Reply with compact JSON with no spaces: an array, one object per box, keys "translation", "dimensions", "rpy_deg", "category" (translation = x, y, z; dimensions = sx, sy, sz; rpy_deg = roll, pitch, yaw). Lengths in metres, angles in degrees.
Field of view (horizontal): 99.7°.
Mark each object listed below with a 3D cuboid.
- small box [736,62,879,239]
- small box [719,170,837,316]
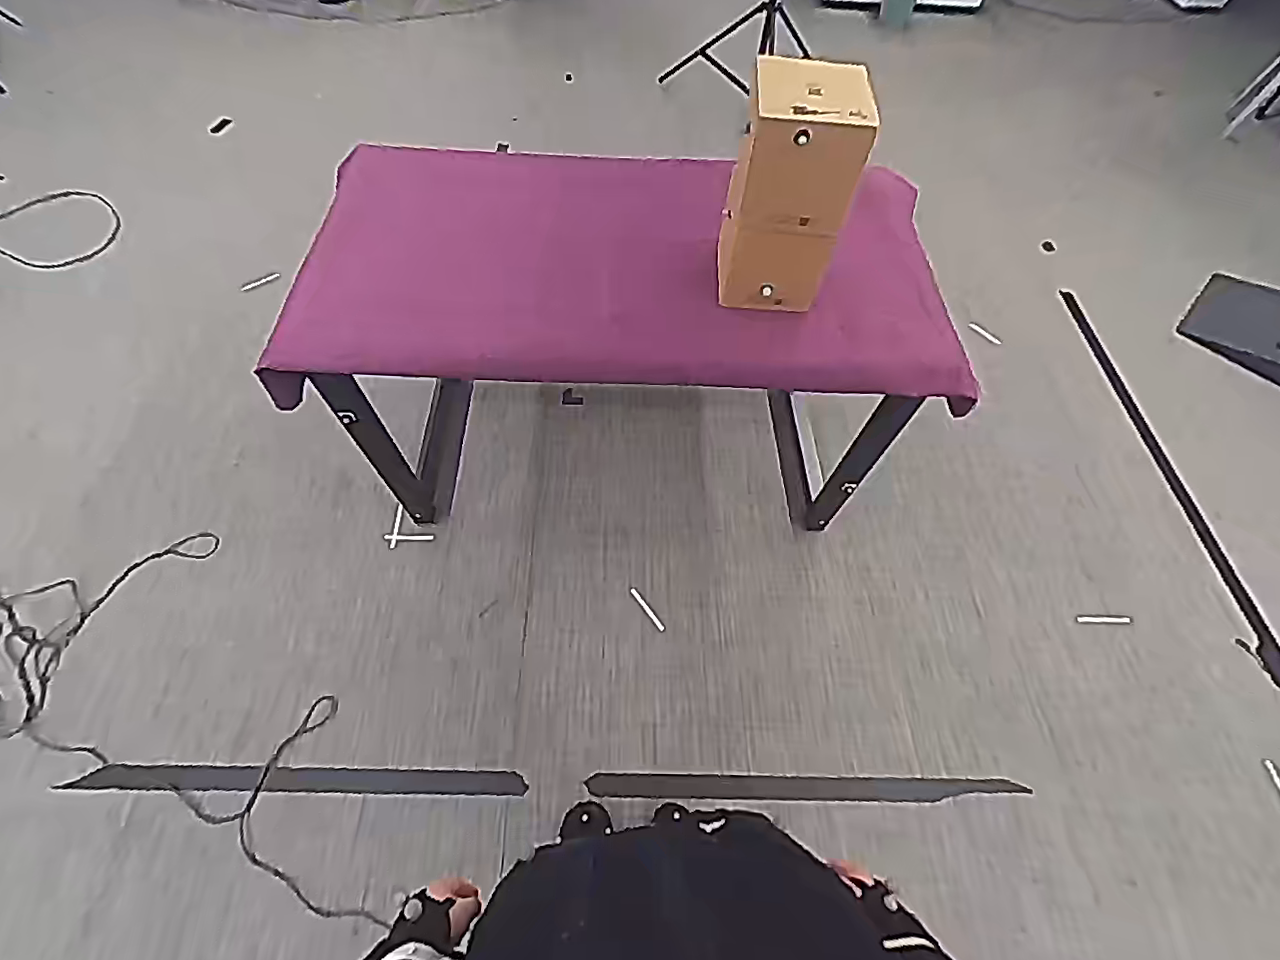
[{"translation":[0.244,-0.505,0.836],"dimensions":[0.168,0.176,0.179],"rpy_deg":[5,59,1],"category":"small box"},{"translation":[0.238,-0.427,0.981],"dimensions":[0.168,0.176,0.179],"rpy_deg":[3,60,0],"category":"small box"}]
